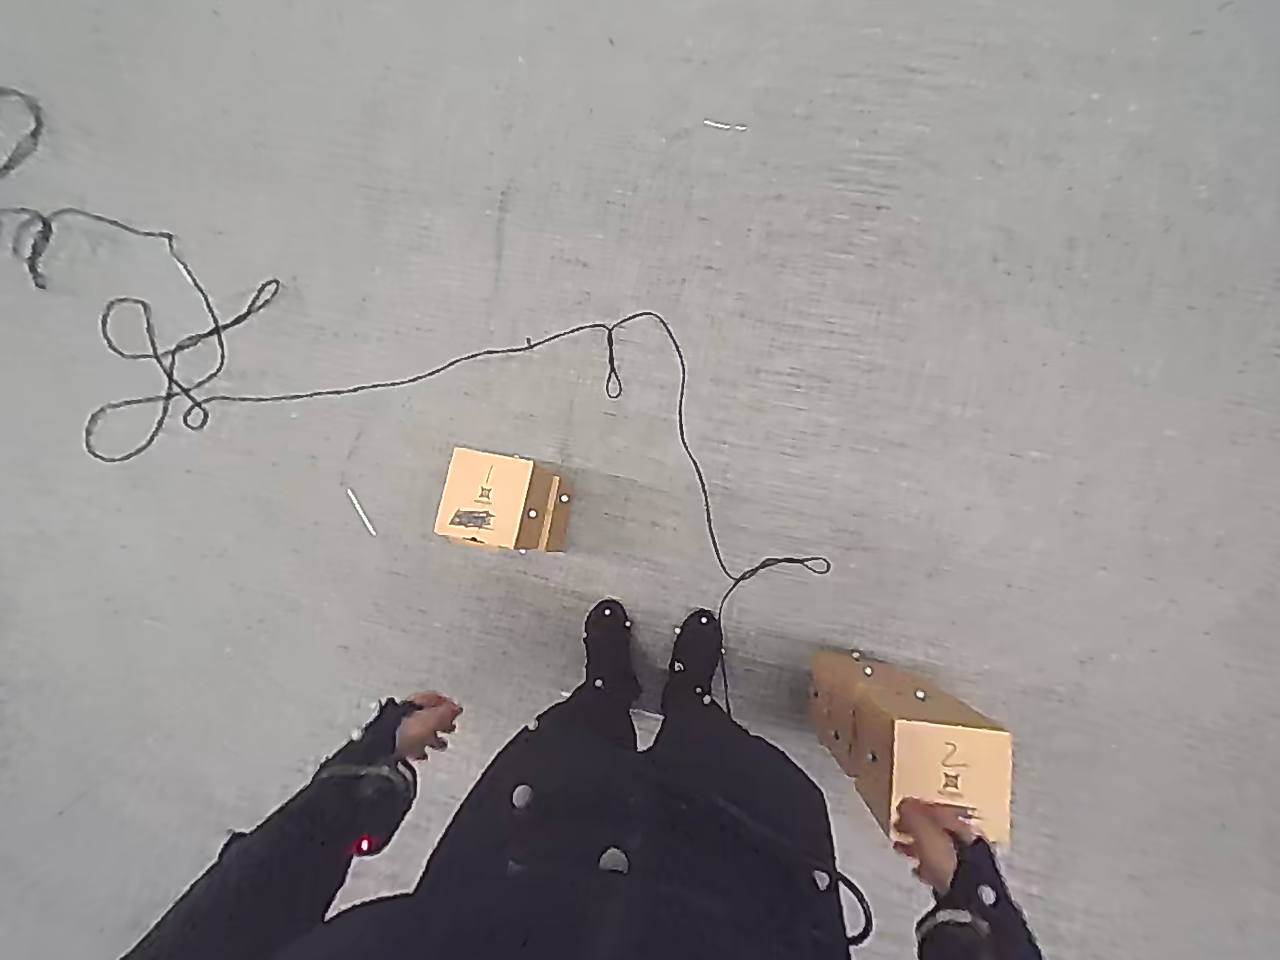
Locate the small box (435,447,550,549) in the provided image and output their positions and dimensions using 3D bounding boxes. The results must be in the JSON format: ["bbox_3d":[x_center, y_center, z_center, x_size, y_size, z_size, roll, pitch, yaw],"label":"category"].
[{"bbox_3d":[-0.297,0.042,1.129,0.168,0.176,0.179,11,84,5],"label":"small box"}]

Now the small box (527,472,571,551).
[{"bbox_3d":[-0.269,0.068,1.290,0.168,0.176,0.179,10,85,6],"label":"small box"}]

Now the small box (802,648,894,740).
[{"bbox_3d":[0.470,0.481,1.199,0.179,0.176,0.168,10,86,6],"label":"small box"}]

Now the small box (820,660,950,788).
[{"bbox_3d":[0.459,0.456,1.038,0.179,0.176,0.168,8,86,4],"label":"small box"}]
